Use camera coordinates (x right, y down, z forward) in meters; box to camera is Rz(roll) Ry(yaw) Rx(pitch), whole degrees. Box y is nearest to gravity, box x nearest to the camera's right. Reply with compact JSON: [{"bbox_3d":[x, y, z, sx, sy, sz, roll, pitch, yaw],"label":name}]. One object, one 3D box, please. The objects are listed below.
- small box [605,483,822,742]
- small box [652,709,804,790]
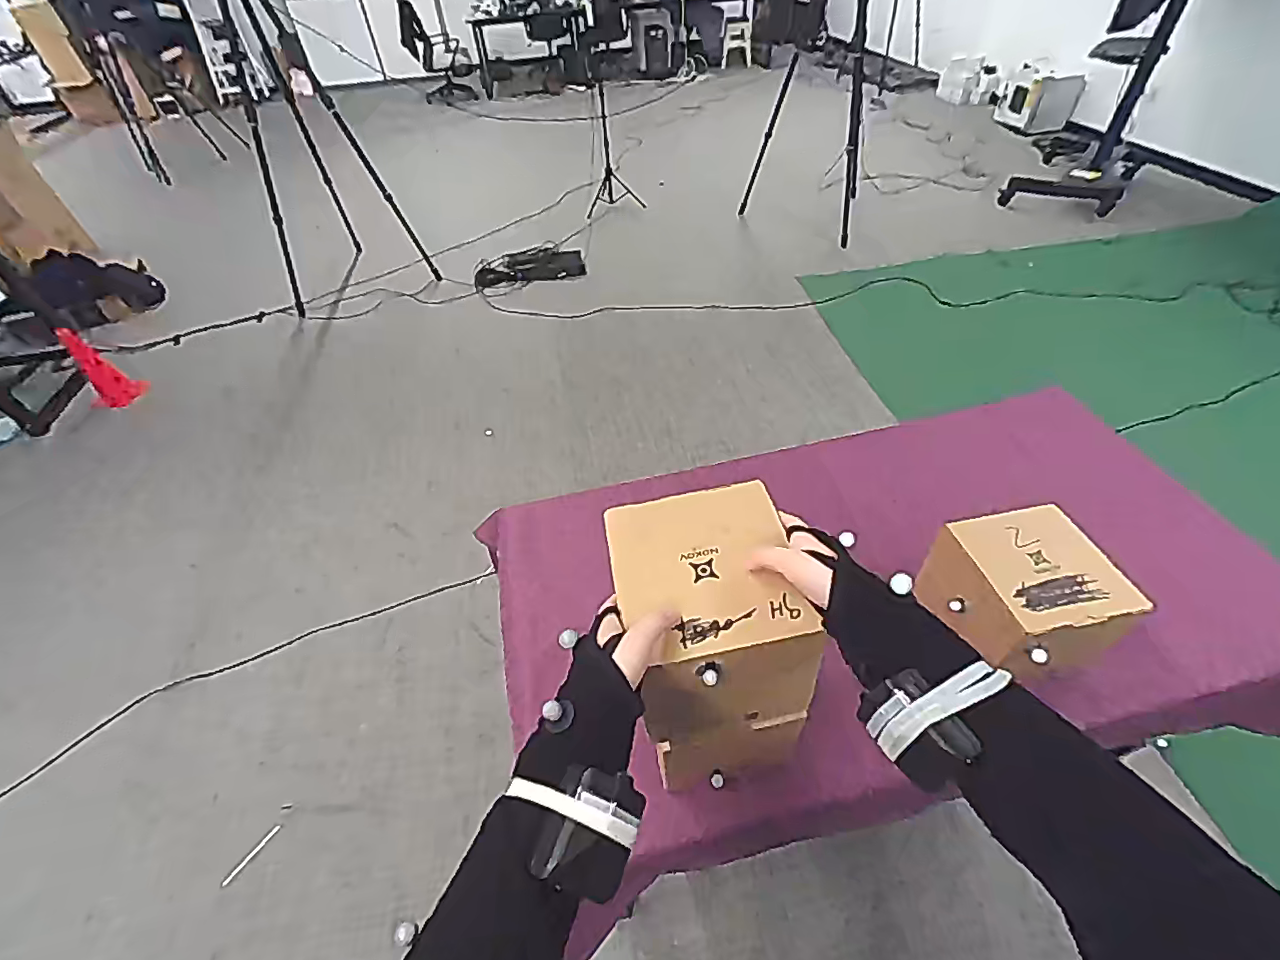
[{"bbox_3d":[0.066,0.134,0.548,0.168,0.176,0.179,-13,44,0],"label":"small box"},{"bbox_3d":[0.091,0.269,0.698,0.168,0.176,0.179,-12,47,-5],"label":"small box"}]
